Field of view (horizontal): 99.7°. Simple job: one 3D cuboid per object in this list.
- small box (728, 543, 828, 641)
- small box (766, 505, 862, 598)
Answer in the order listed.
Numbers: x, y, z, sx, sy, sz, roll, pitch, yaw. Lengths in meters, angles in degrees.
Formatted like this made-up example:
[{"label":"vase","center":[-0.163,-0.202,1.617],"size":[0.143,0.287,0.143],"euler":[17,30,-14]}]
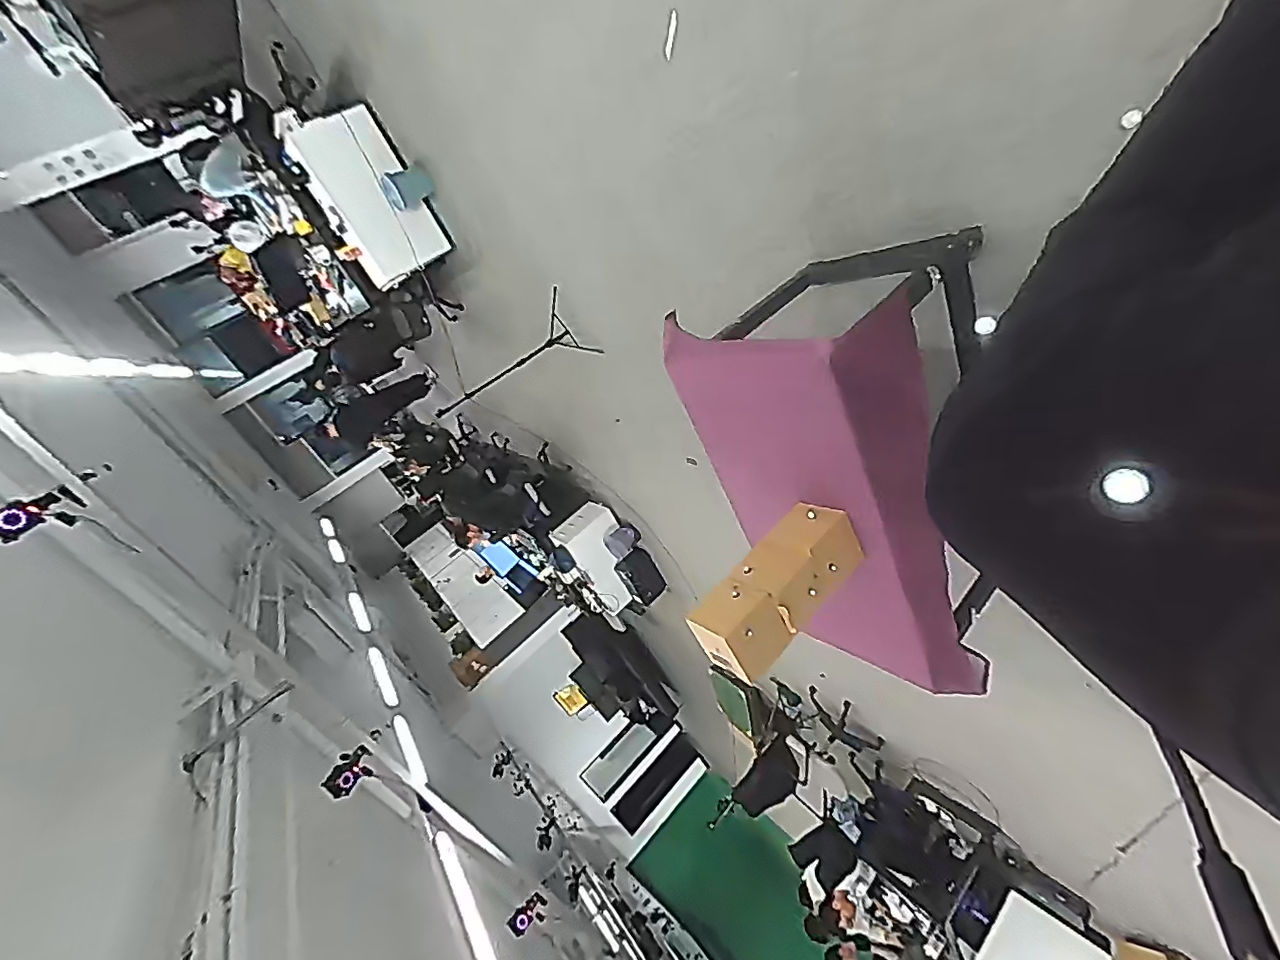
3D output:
[{"label":"small box","center":[0.376,0.295,1.469],"size":[0.179,0.176,0.168],"euler":[18,143,53]},{"label":"small box","center":[0.495,0.196,1.526],"size":[0.168,0.176,0.179],"euler":[11,136,58]}]
